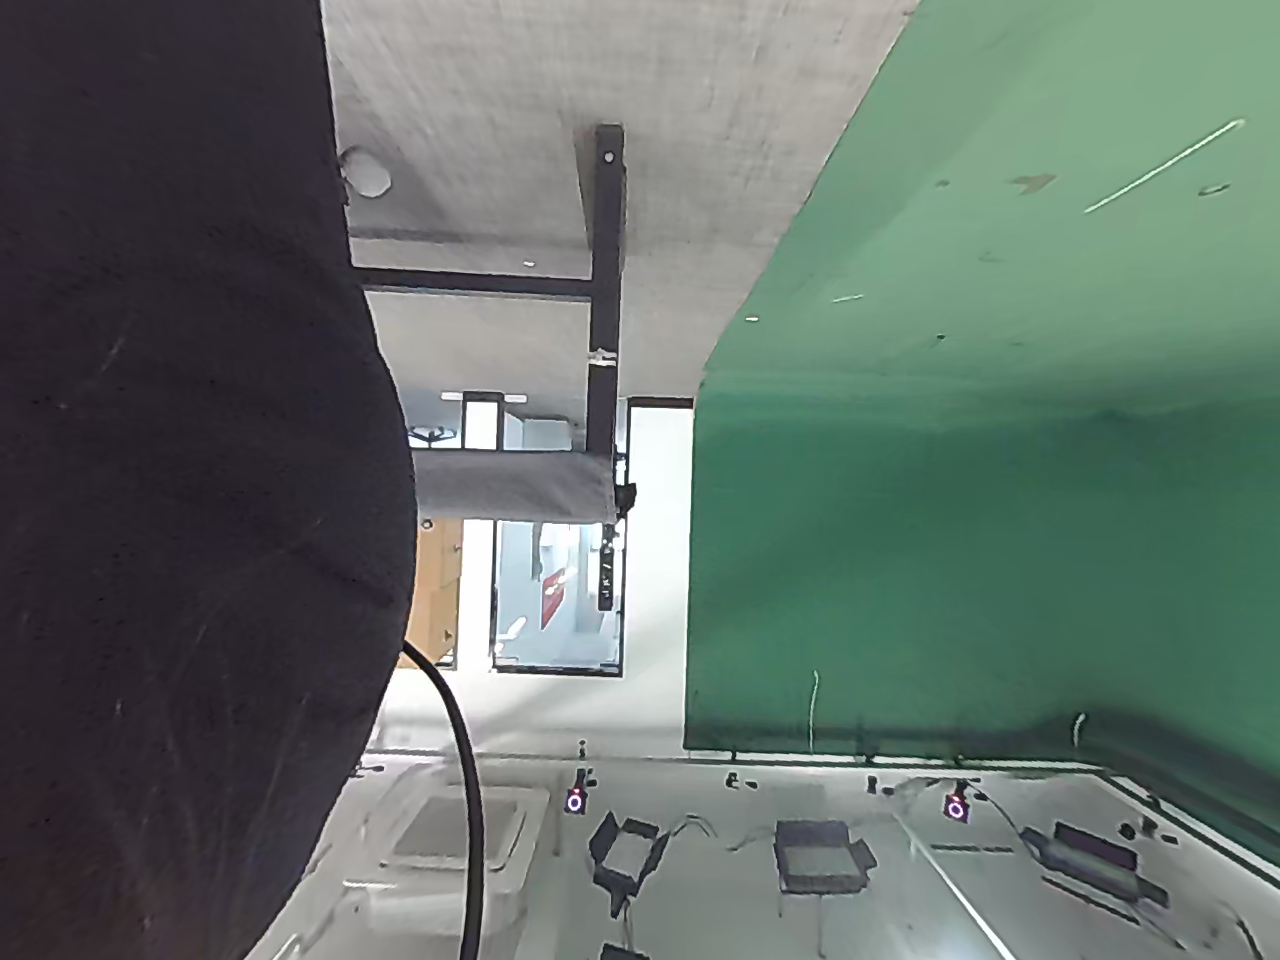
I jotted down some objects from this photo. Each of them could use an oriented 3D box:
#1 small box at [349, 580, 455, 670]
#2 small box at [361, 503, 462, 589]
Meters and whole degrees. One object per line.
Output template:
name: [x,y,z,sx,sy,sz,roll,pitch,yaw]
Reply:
small box: [-0.513,0.302,1.187,0.168,0.176,0.179,1,180,-2]
small box: [-0.492,0.138,1.181,0.168,0.176,0.179,2,180,-5]
